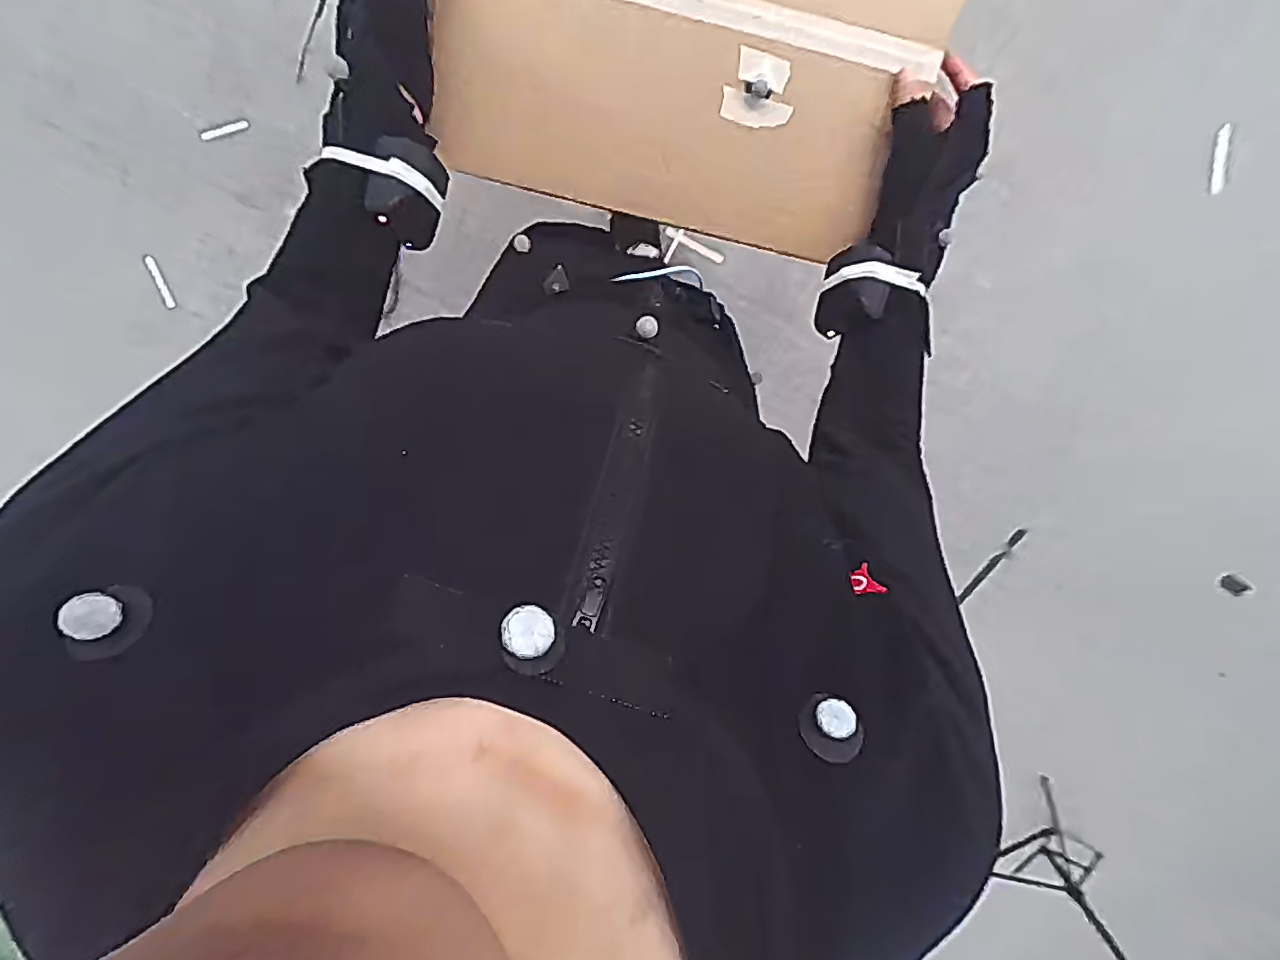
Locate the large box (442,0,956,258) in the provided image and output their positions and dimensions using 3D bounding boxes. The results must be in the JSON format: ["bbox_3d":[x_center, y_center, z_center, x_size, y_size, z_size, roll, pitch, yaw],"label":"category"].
[{"bbox_3d":[0.048,-0.450,0.563,0.408,0.320,0.320,12,118,-5],"label":"large box"}]
